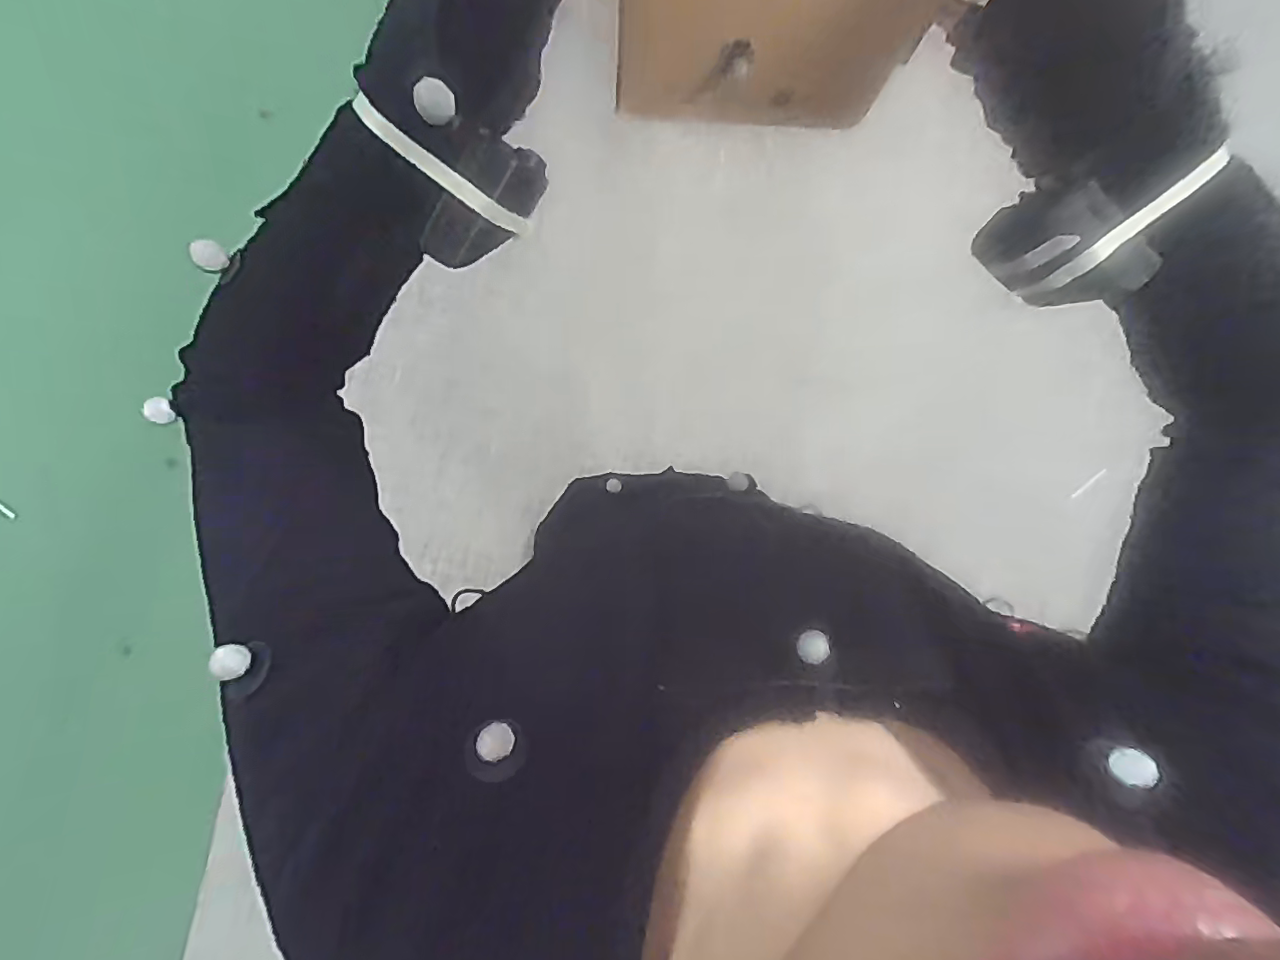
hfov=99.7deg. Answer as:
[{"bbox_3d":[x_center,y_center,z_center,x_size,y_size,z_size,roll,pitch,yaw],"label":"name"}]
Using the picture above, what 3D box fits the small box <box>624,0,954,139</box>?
[{"bbox_3d":[0.077,-0.325,0.287,0.168,0.176,0.179,0,88,-4],"label":"small box"}]
